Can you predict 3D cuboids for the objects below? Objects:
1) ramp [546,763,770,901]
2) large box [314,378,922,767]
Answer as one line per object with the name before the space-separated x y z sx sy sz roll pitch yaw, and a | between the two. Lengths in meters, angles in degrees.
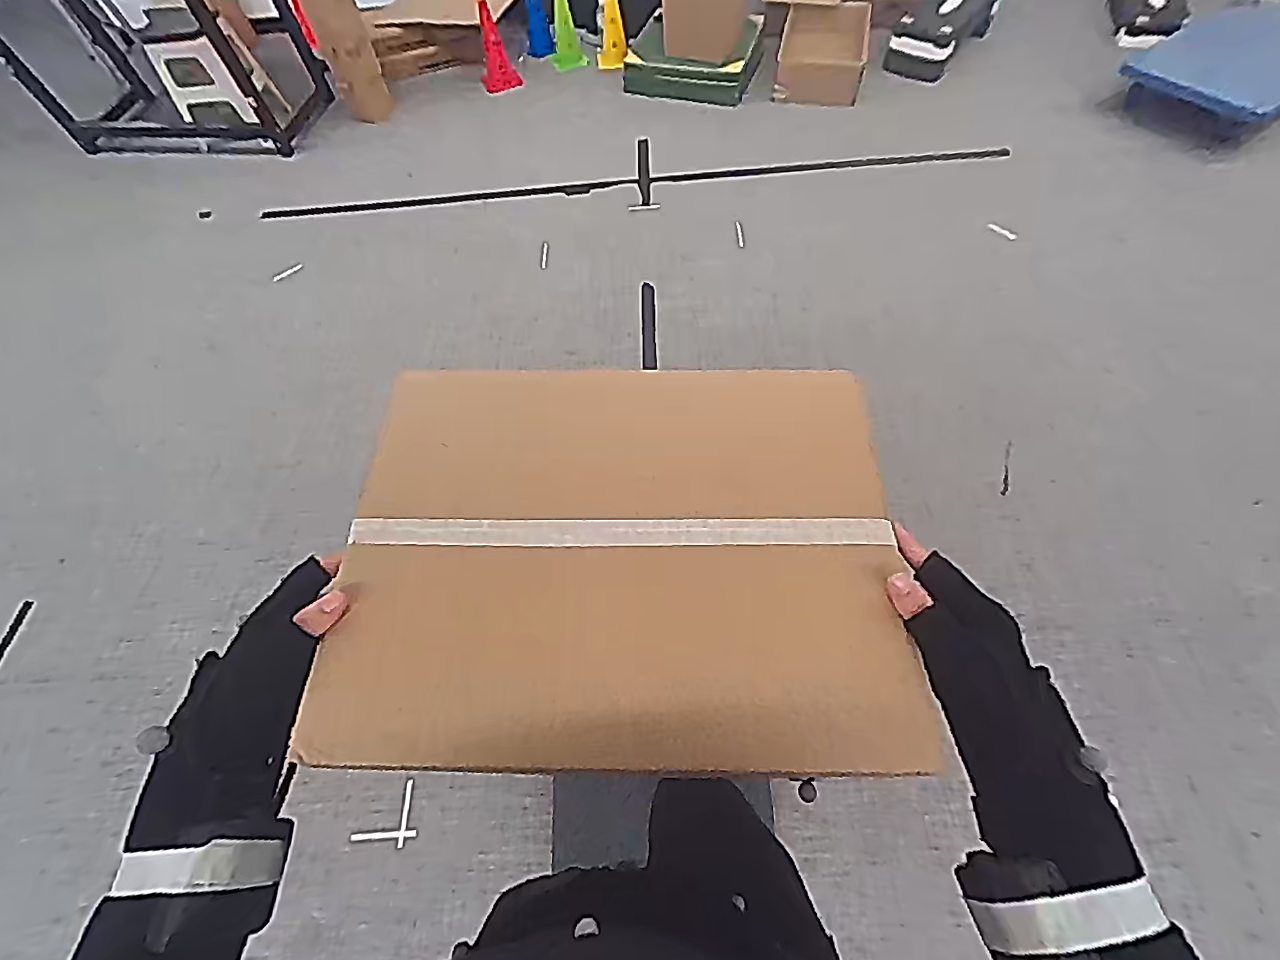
ramp | 0.025 0.427 1.323 0.509 0.206 0.991 -3 61 0
large box | -0.012 0.113 0.549 0.408 0.320 0.320 1 61 0
